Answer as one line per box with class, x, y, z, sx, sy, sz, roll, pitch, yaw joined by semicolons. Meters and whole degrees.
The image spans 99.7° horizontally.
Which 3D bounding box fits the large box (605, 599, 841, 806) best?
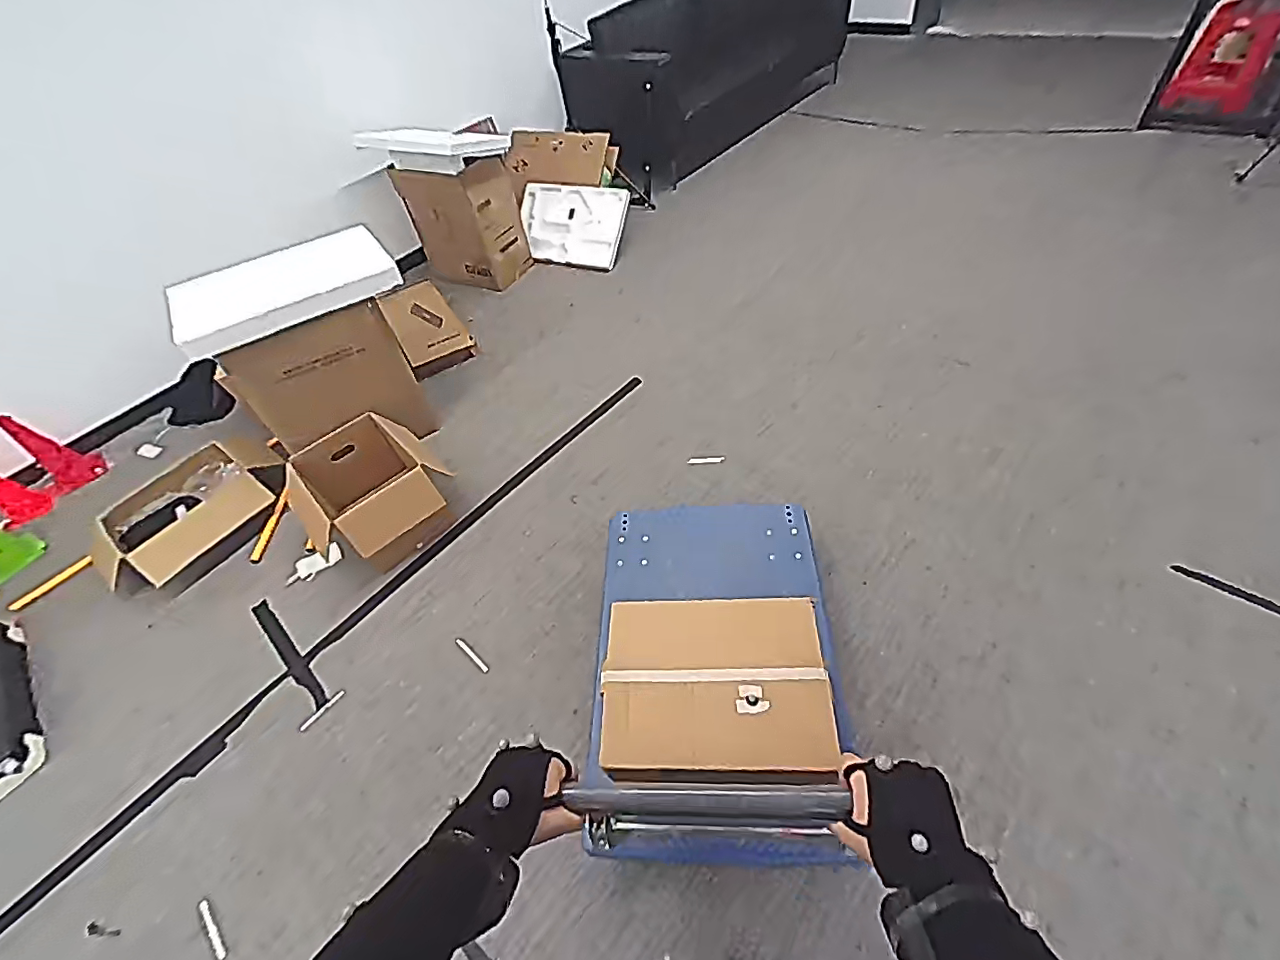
large box;0.153;0.462;1.110;0.408;0.320;0.320;-3;50;6
